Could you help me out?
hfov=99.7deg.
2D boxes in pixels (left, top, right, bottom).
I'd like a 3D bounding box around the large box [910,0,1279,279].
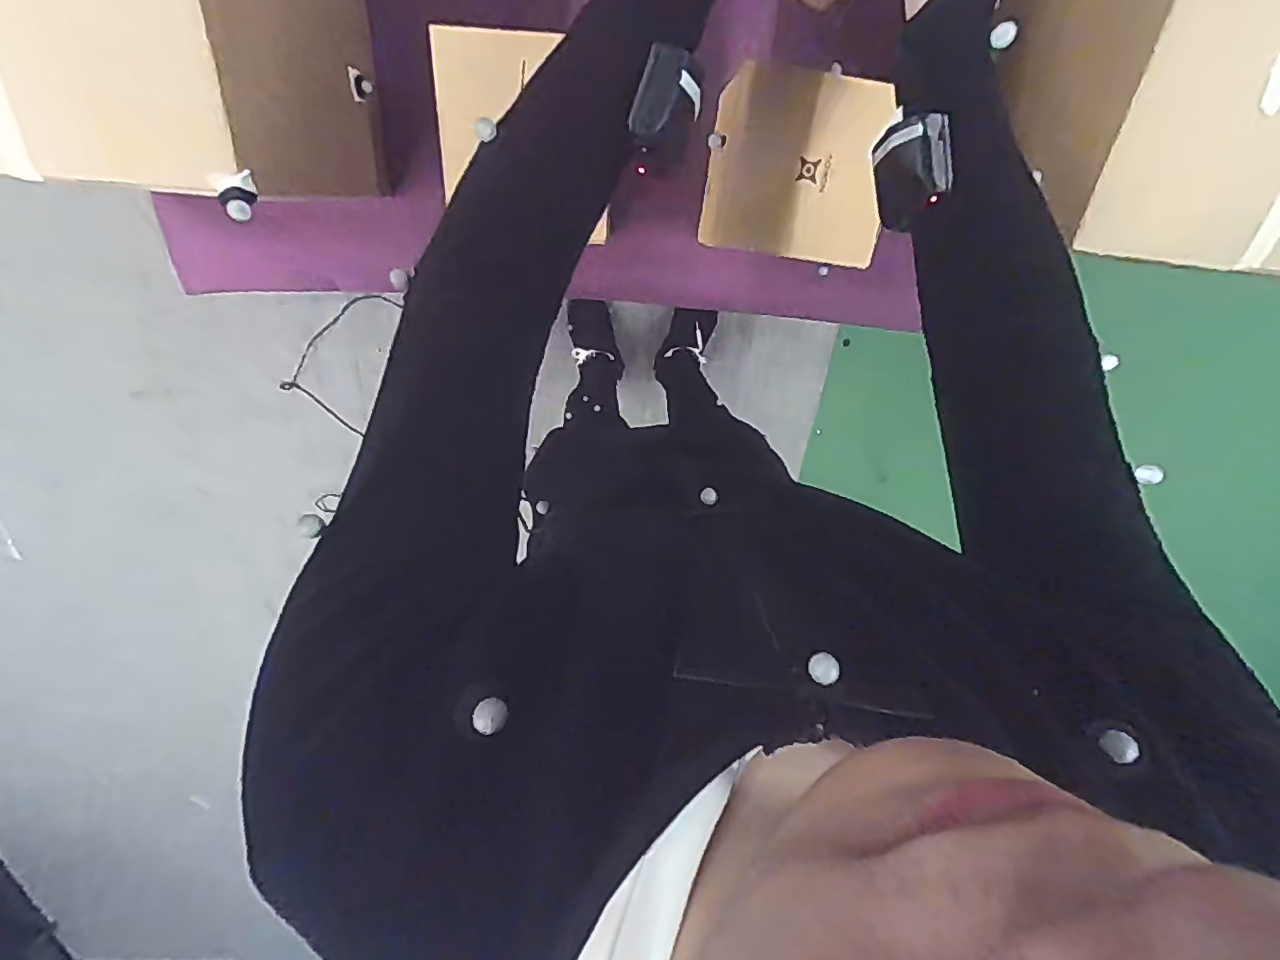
[{"bbox_3d":[0.528,-0.428,0.511,0.320,0.320,0.408,5,117,-3],"label":"large box"}]
